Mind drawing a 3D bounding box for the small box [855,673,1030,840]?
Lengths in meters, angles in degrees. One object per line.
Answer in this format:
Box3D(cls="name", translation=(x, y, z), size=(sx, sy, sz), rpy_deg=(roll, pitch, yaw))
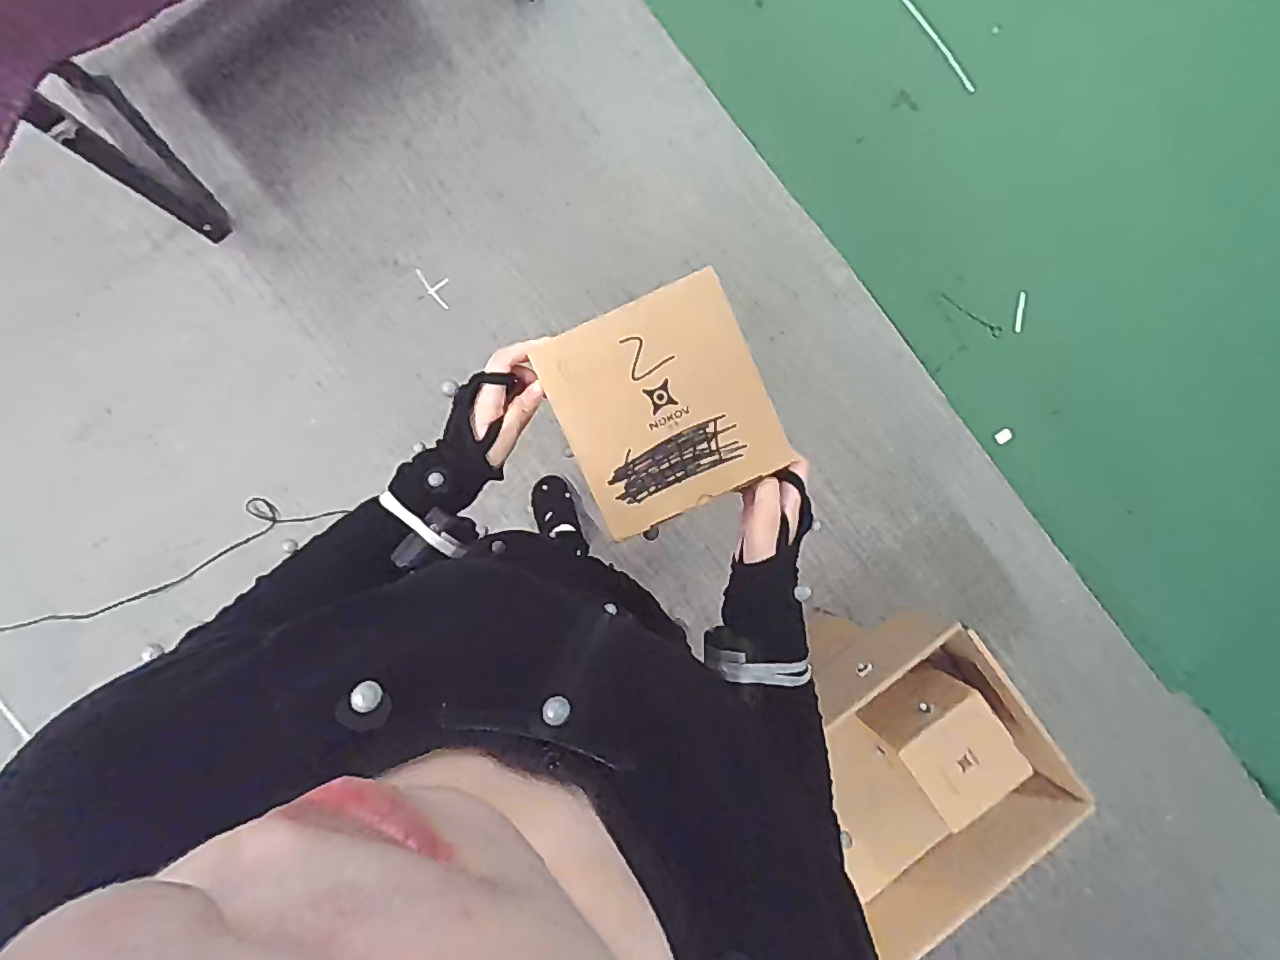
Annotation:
Box3D(cls="small box", translation=(0.526, 0.477, 0.967), size=(0.179, 0.176, 0.168), rpy_deg=(-34, 89, -5))
